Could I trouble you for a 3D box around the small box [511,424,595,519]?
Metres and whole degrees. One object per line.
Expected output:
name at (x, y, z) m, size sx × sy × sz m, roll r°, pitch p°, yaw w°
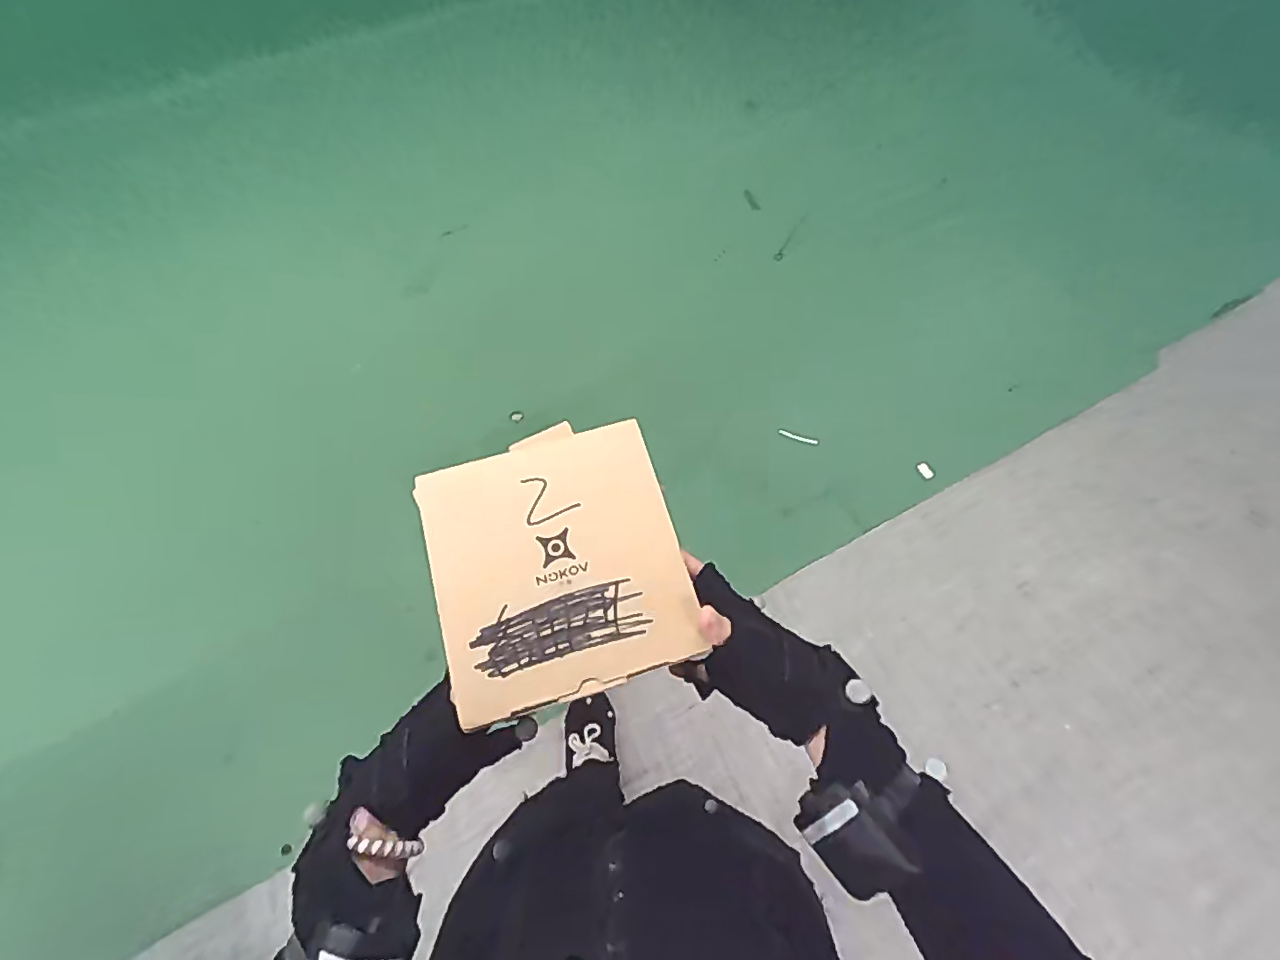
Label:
small box at (-0.231, -0.019, 1.490) m, size 0.179 × 0.176 × 0.168 m, roll -25°, pitch 67°, yaw -10°
